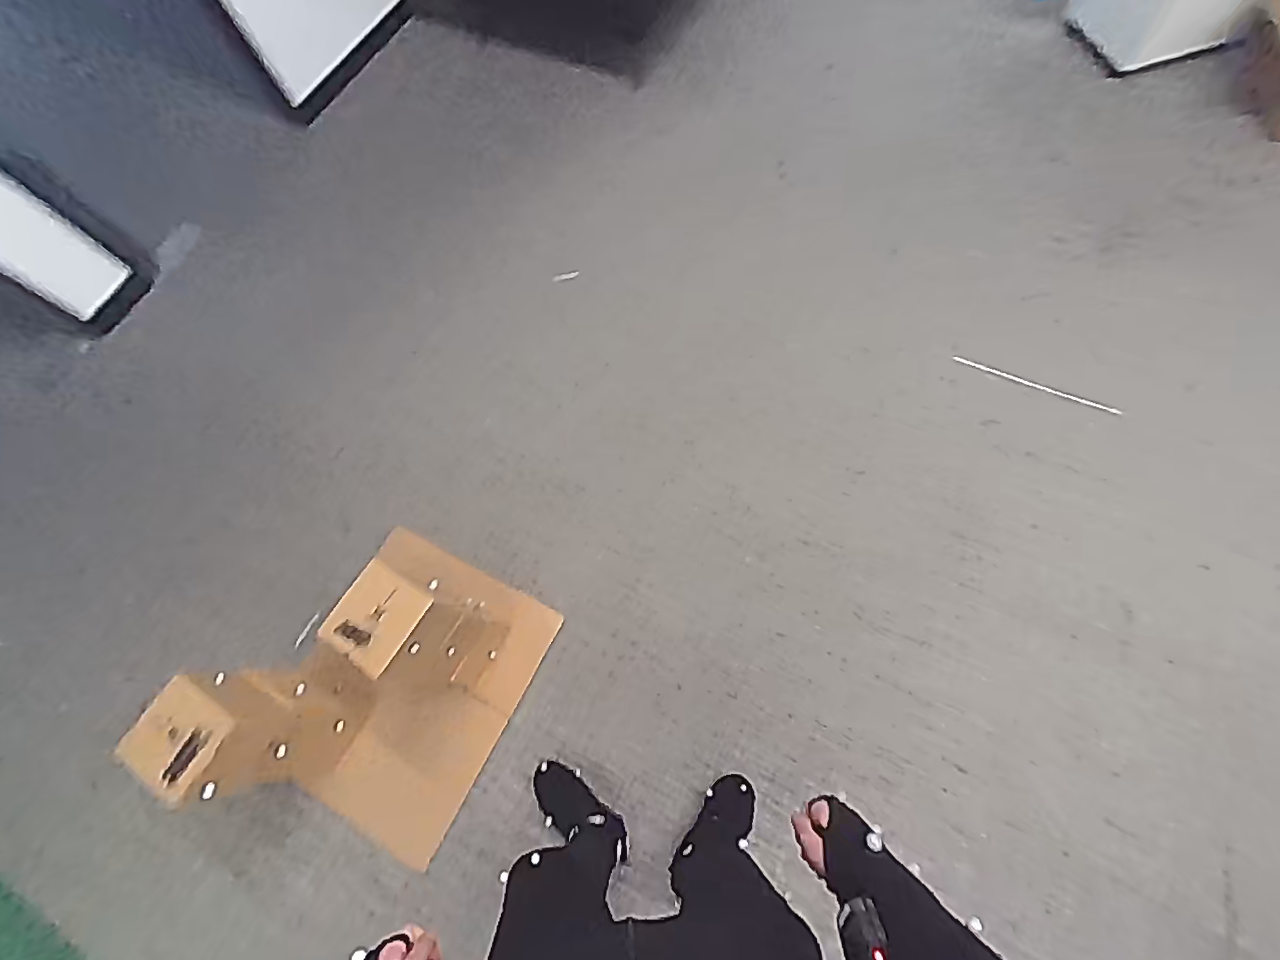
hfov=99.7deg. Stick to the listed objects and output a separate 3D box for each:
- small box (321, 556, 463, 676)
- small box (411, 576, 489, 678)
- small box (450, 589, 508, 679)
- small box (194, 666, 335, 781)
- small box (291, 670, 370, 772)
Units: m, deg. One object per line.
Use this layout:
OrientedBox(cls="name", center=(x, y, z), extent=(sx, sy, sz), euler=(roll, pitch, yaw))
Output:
OrientedBox(cls="small box", center=(-0.502, 0.288, 1.126), extent=(0.168, 0.176, 0.179), euler=(30, 75, 14))
OrientedBox(cls="small box", center=(-0.488, 0.348, 1.278), extent=(0.168, 0.176, 0.179), euler=(31, 75, 15))
OrientedBox(cls="small box", center=(-0.470, 0.406, 1.430), extent=(0.168, 0.176, 0.179), euler=(28, 74, 15))
OrientedBox(cls="small box", center=(-0.840, 0.546, 1.235), extent=(0.168, 0.176, 0.179), euler=(27, 75, 14))
OrientedBox(cls="small box", center=(-0.829, 0.608, 1.384), extent=(0.168, 0.176, 0.179), euler=(26, 74, 15))
